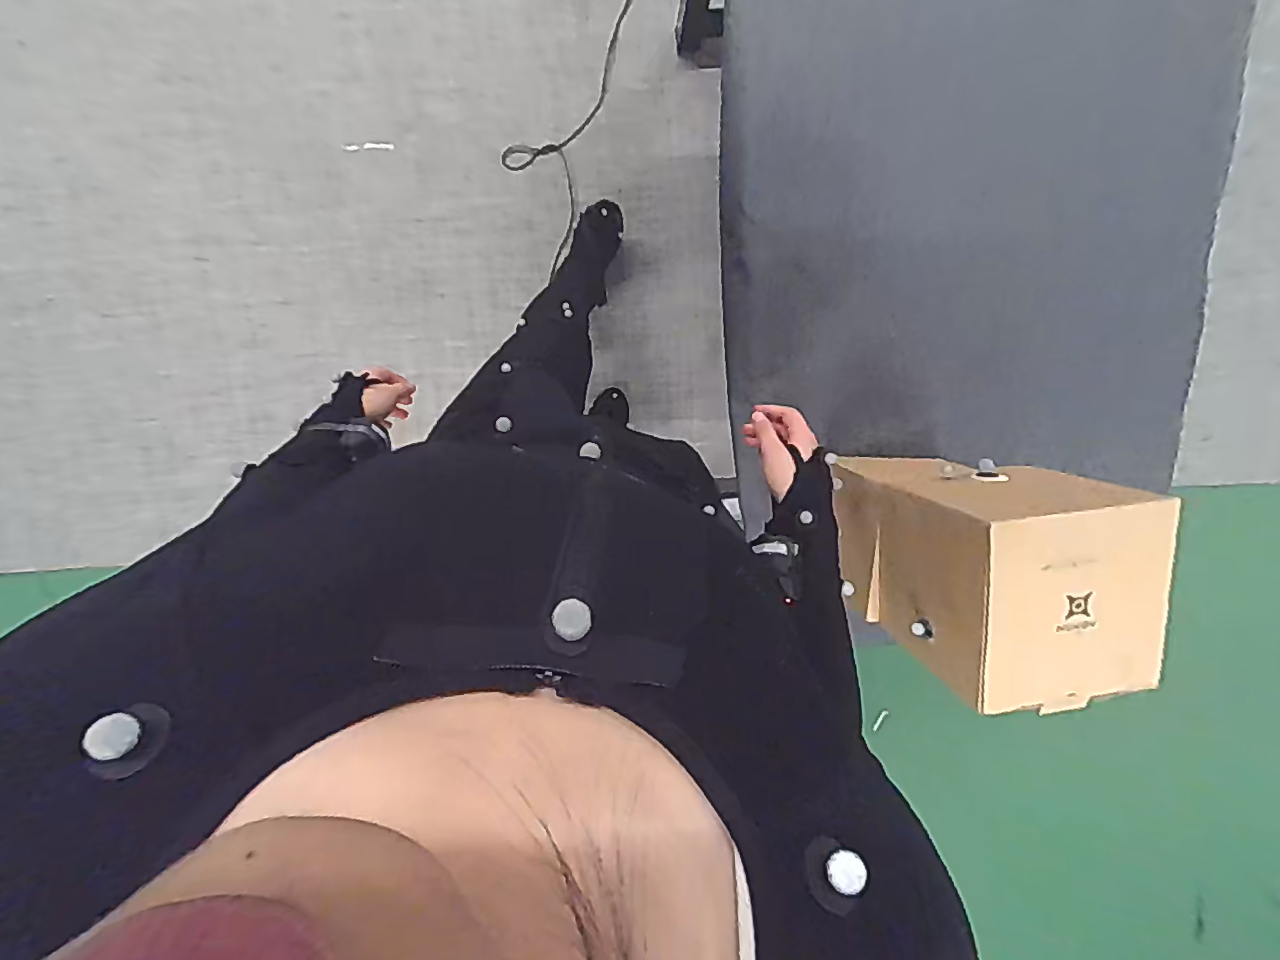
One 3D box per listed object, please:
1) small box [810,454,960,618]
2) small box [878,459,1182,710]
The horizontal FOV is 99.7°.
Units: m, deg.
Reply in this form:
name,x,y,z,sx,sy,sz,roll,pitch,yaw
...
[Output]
name,x,y,z,sx,sy,sz,roll,pitch,yaw
small box,0.335,0.061,0.677,0.179,0.176,0.168,1,101,-4
small box,0.347,0.084,0.516,0.168,0.176,0.179,-7,101,-5
